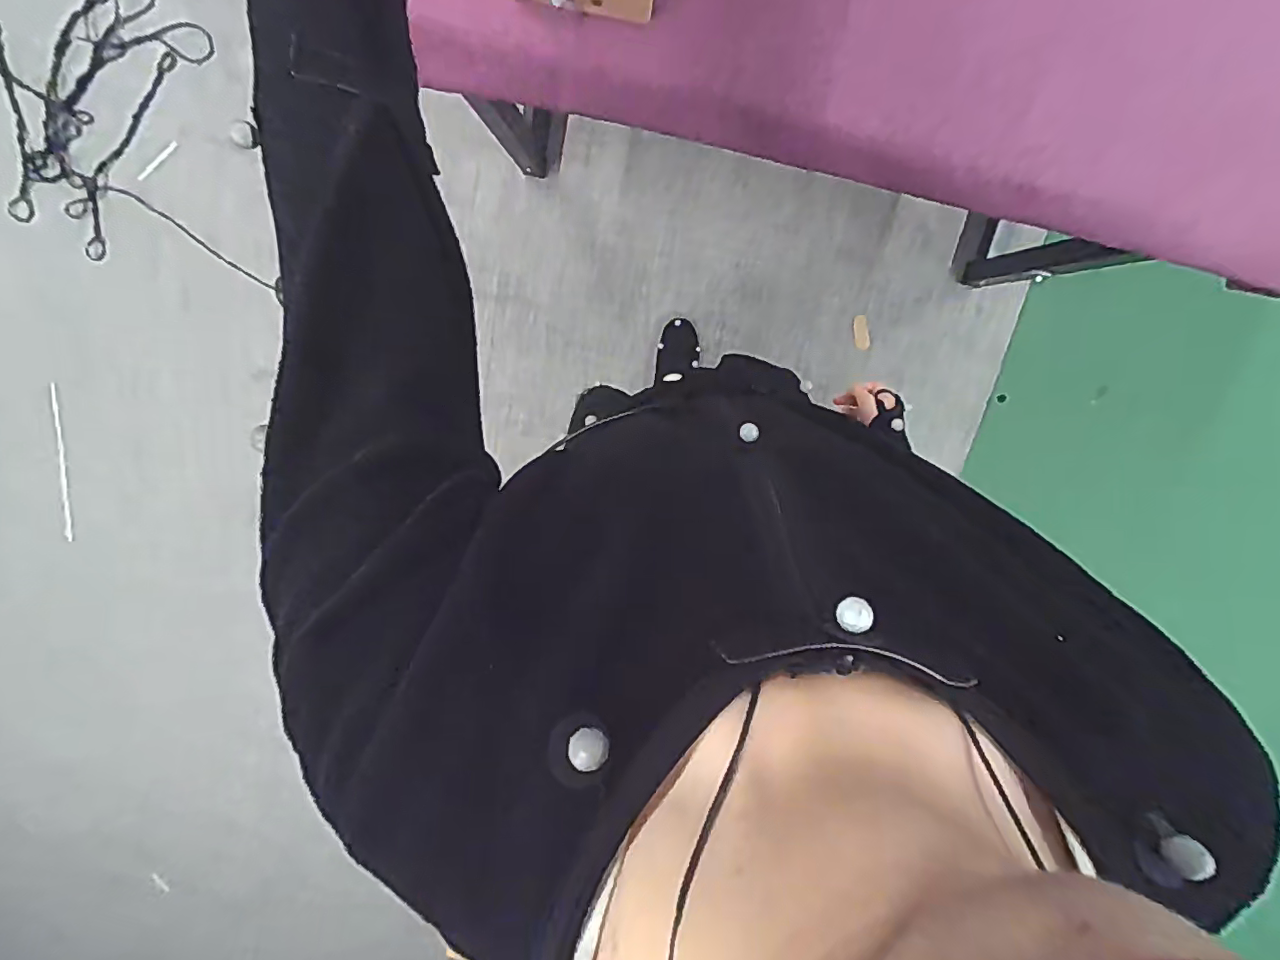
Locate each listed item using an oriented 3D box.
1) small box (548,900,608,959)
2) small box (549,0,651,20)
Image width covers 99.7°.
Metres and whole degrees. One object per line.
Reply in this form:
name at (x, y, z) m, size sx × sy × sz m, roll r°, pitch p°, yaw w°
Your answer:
small box at (-0.203, 1.565, 1.830) m, size 0.179 × 0.176 × 0.168 m, roll -2°, pitch 104°, yaw 4°
small box at (-0.056, -0.613, 0.530) m, size 0.168 × 0.176 × 0.179 m, roll 11°, pitch 105°, yaw -1°
